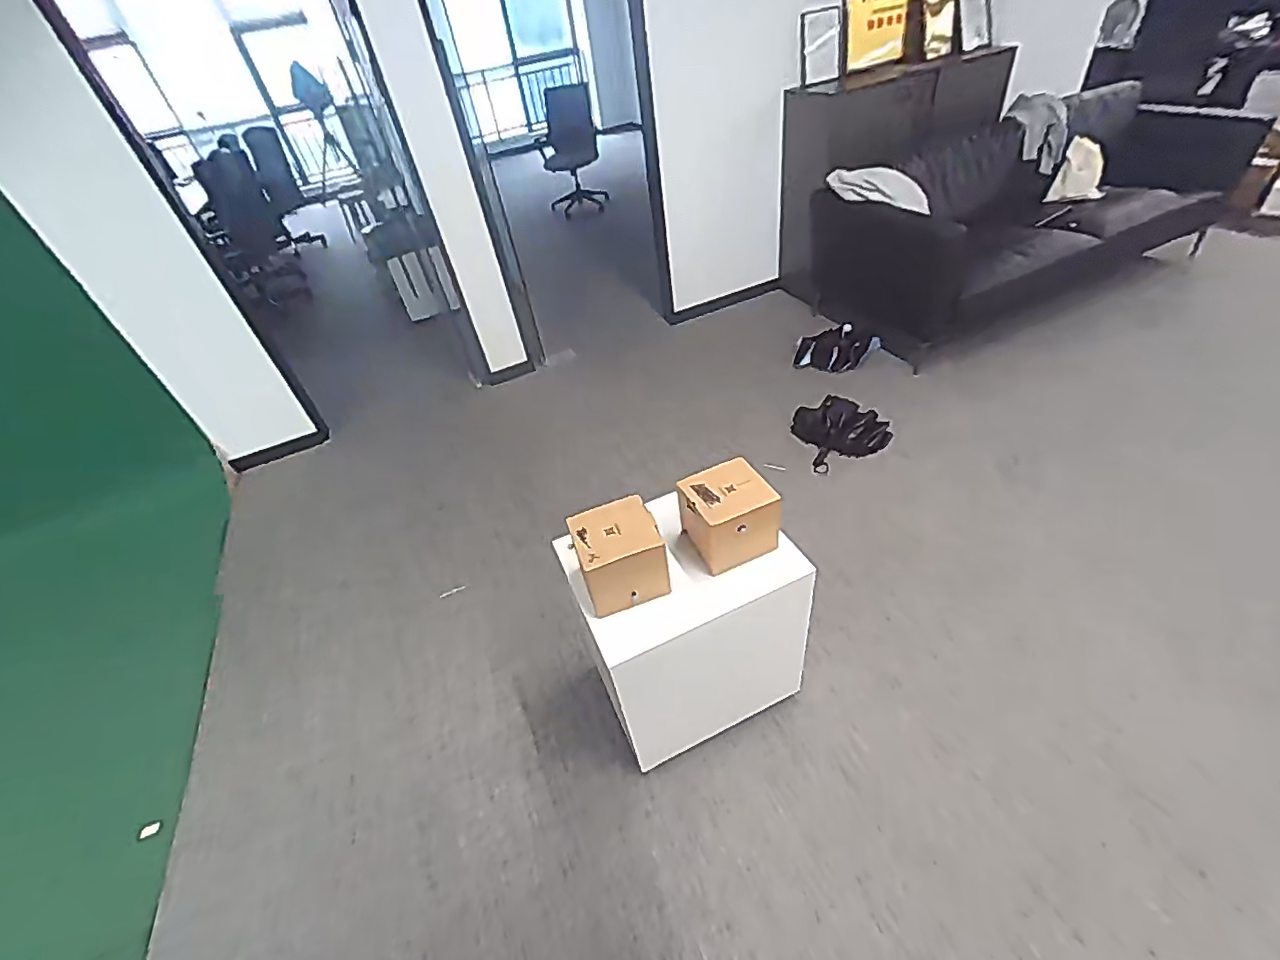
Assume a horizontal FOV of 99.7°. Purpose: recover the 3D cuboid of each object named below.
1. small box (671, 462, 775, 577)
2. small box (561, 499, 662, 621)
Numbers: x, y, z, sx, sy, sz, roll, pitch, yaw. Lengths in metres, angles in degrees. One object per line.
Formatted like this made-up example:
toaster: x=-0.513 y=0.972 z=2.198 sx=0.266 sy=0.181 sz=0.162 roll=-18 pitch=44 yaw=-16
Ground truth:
small box: x=0.186 y=0.093 z=1.233 sx=0.179 sy=0.176 sz=0.168 roll=-20 pitch=42 yaw=-15
small box: x=-0.059 y=0.174 z=1.172 sx=0.179 sy=0.176 sz=0.168 roll=-16 pitch=41 yaw=-13
